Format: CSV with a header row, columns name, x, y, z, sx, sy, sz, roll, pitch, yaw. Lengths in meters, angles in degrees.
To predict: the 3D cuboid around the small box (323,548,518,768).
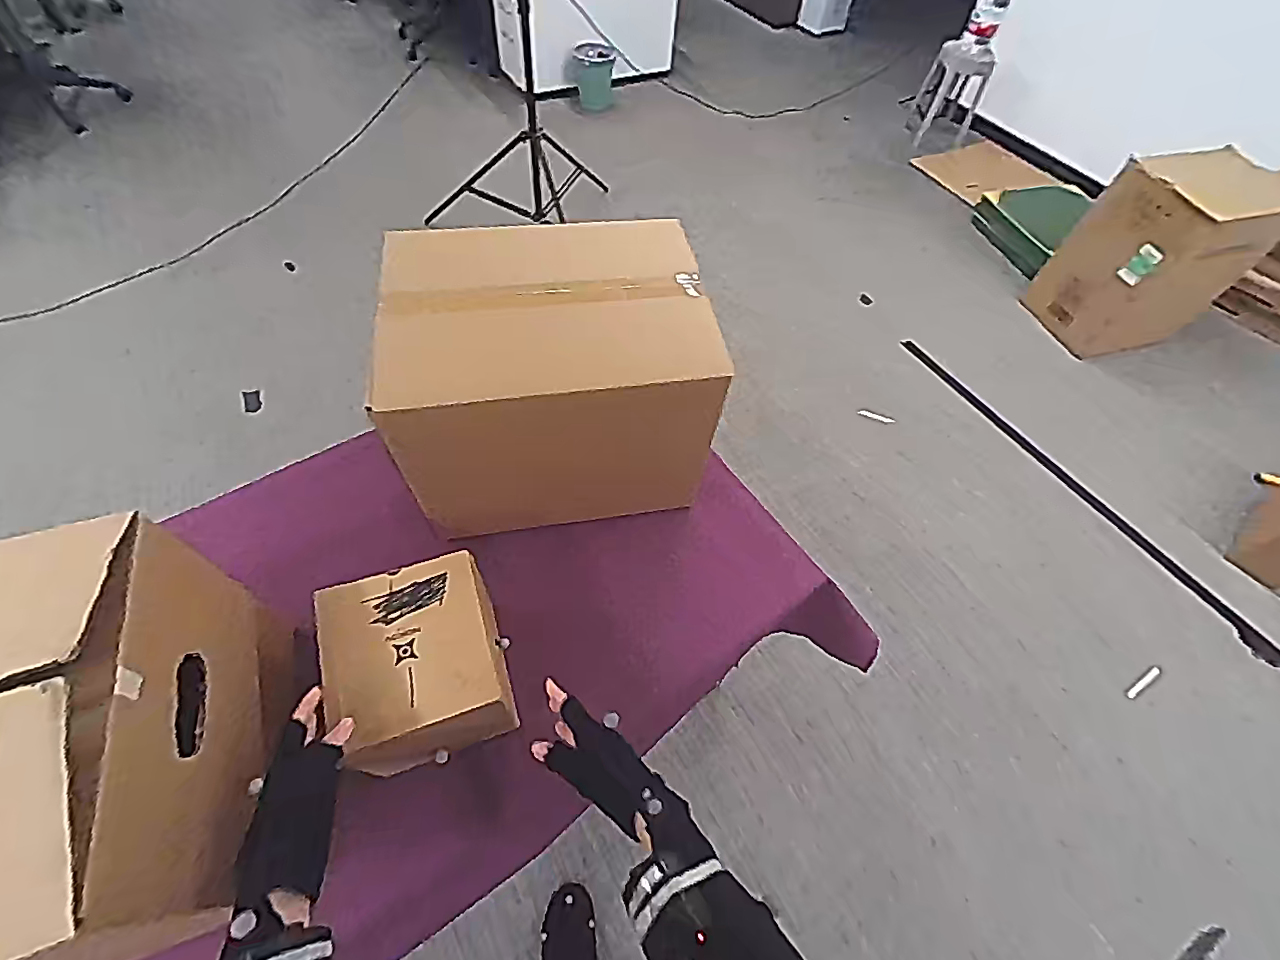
name,x,y,z,sx,sy,sz,roll,pitch,yaw
small box,-0.248,0.211,0.632,0.168,0.176,0.179,-15,59,-14
